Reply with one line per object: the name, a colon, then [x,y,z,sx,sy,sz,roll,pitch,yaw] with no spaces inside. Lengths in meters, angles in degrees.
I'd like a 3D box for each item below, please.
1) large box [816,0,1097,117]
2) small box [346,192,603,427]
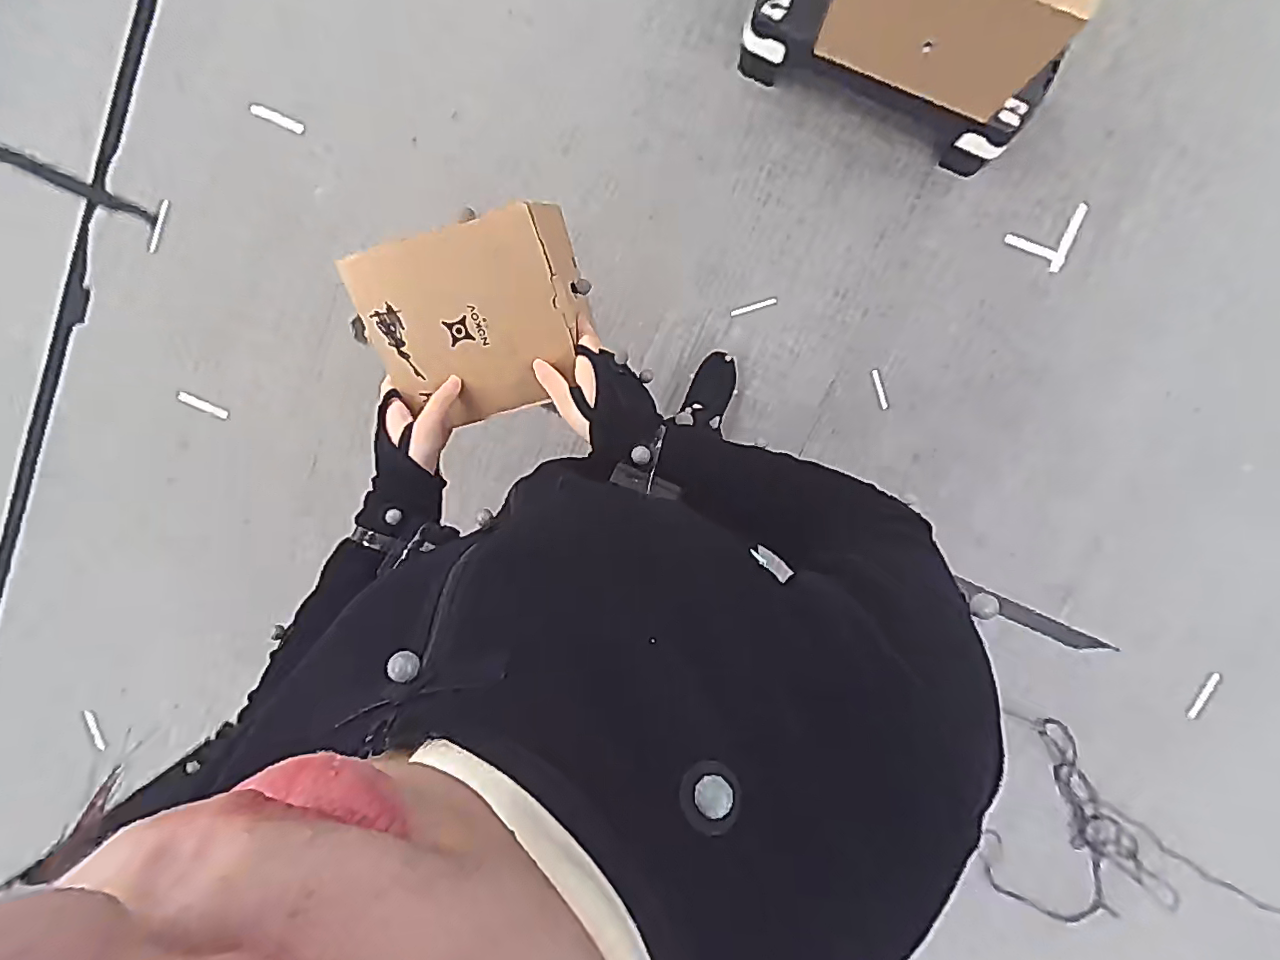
large box: [0.606,-0.968,1.004,0.408,0.320,0.320,22,96,2]
small box: [-0.140,-0.173,0.537,0.179,0.176,0.168,-13,114,6]
